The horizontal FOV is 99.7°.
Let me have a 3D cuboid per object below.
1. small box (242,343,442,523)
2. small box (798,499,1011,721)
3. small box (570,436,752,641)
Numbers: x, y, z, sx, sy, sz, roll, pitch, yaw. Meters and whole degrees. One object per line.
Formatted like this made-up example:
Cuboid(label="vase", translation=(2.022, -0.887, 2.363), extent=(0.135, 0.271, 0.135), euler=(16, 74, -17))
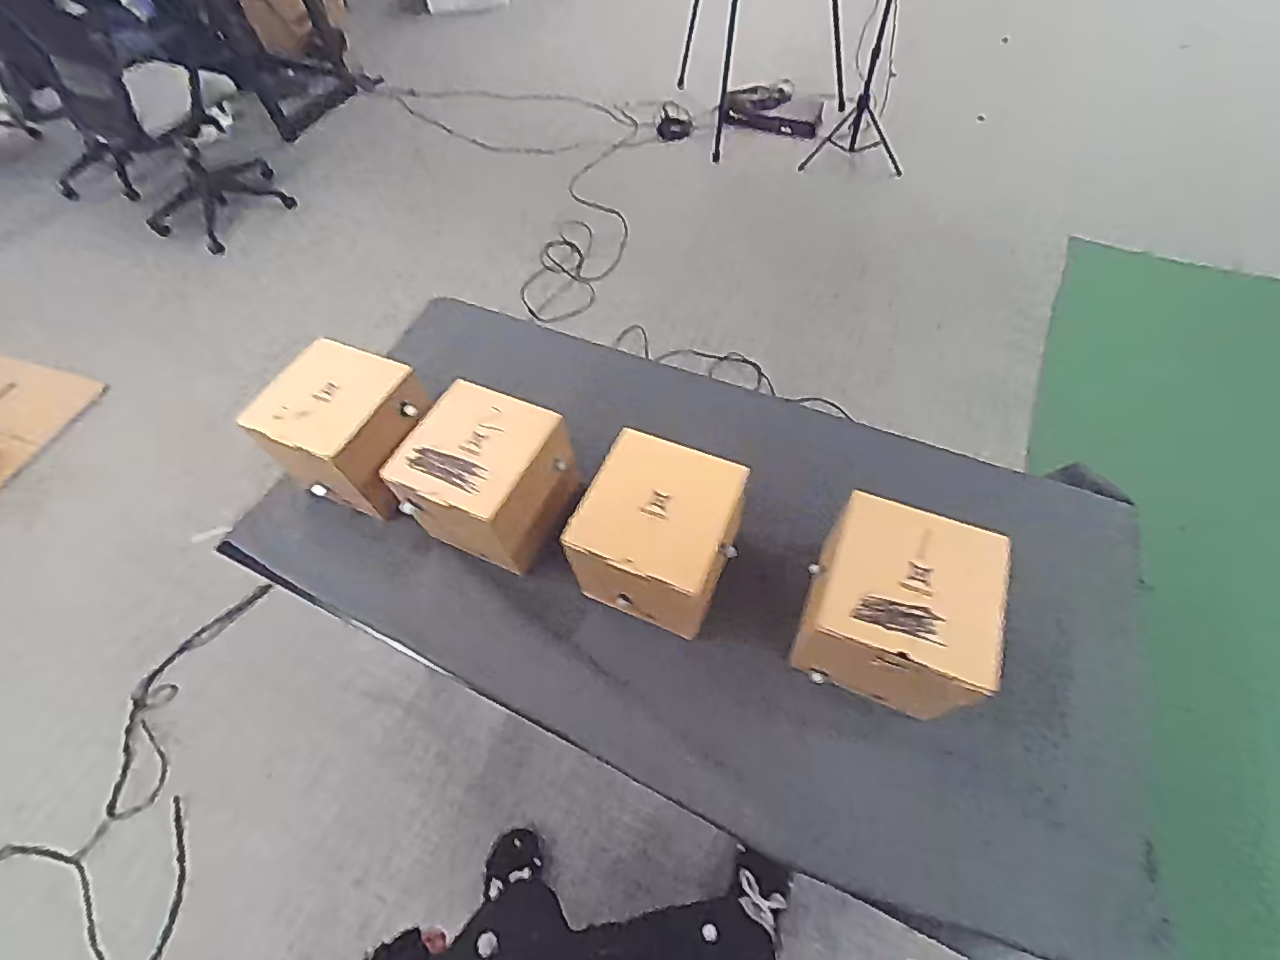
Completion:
Cuboid(label="small box", translation=(-0.422, -0.067, 0.808), extent=(0.168, 0.176, 0.179), euler=(19, 60, 14))
Cuboid(label="small box", translation=(0.293, 0.156, 0.628), extent=(0.168, 0.176, 0.179), euler=(19, 60, 15))
Cuboid(label="small box", translation=(0.030, 0.079, 0.696), extent=(0.168, 0.176, 0.179), euler=(19, 62, 15))
